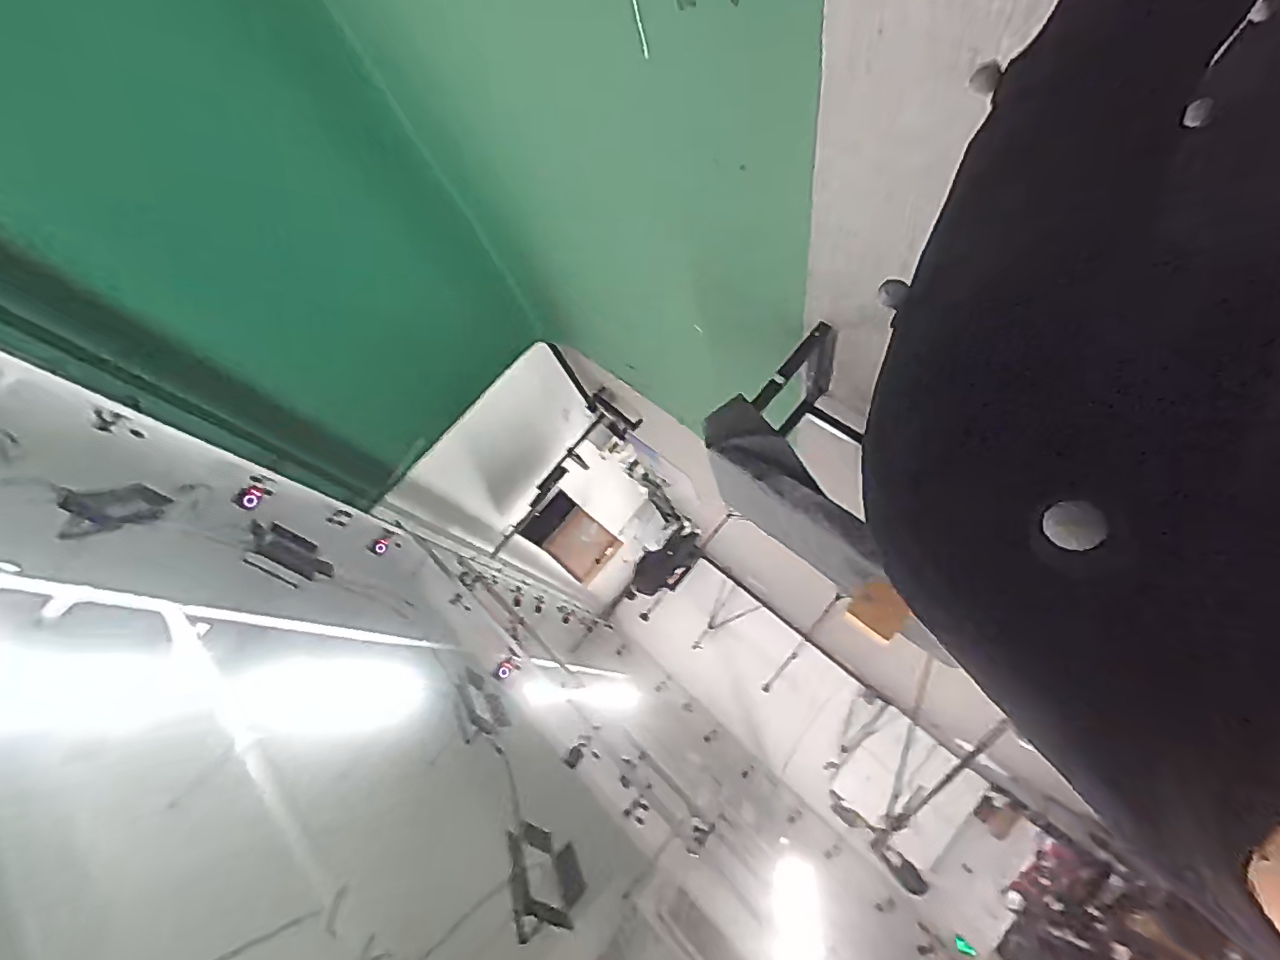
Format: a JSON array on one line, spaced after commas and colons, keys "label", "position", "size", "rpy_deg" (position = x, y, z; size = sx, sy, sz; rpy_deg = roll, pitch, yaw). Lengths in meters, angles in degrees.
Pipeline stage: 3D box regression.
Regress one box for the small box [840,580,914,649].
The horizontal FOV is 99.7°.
[{"label": "small box", "position": [0.851, 0.479, 1.955], "size": [0.179, 0.176, 0.168], "rpy_deg": [37, 172, 28]}]
